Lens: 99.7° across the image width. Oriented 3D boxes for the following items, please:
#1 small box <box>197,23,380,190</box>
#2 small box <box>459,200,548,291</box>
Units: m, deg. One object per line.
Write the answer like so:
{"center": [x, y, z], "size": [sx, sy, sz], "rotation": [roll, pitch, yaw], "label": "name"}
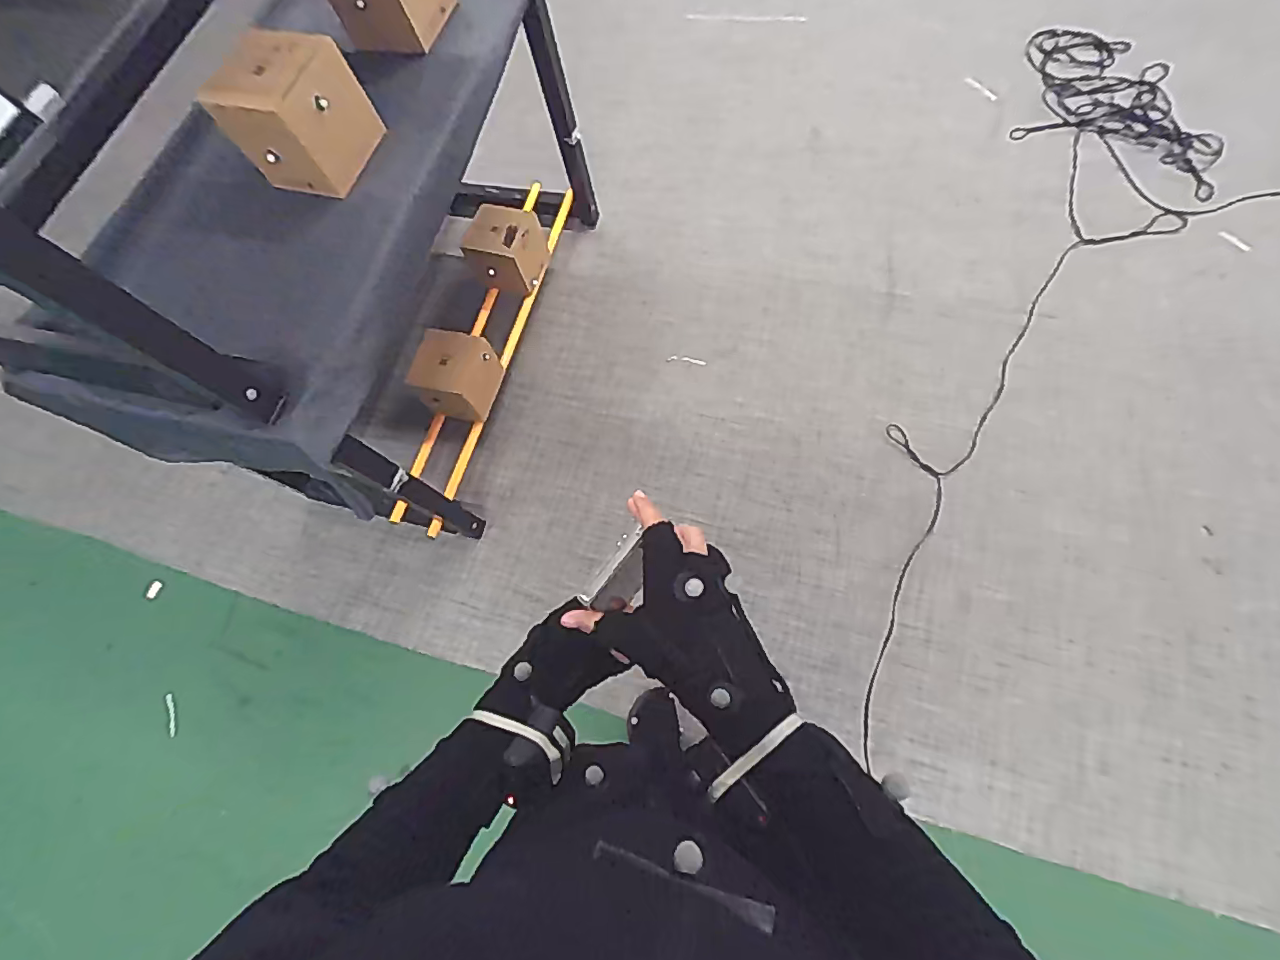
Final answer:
{"center": [-0.591, -0.638, 0.937], "size": [0.168, 0.176, 0.179], "rotation": [15, 73, 13], "label": "small box"}
{"center": [-0.392, -0.683, 1.593], "size": [0.179, 0.176, 0.168], "rotation": [16, 73, 13], "label": "small box"}
